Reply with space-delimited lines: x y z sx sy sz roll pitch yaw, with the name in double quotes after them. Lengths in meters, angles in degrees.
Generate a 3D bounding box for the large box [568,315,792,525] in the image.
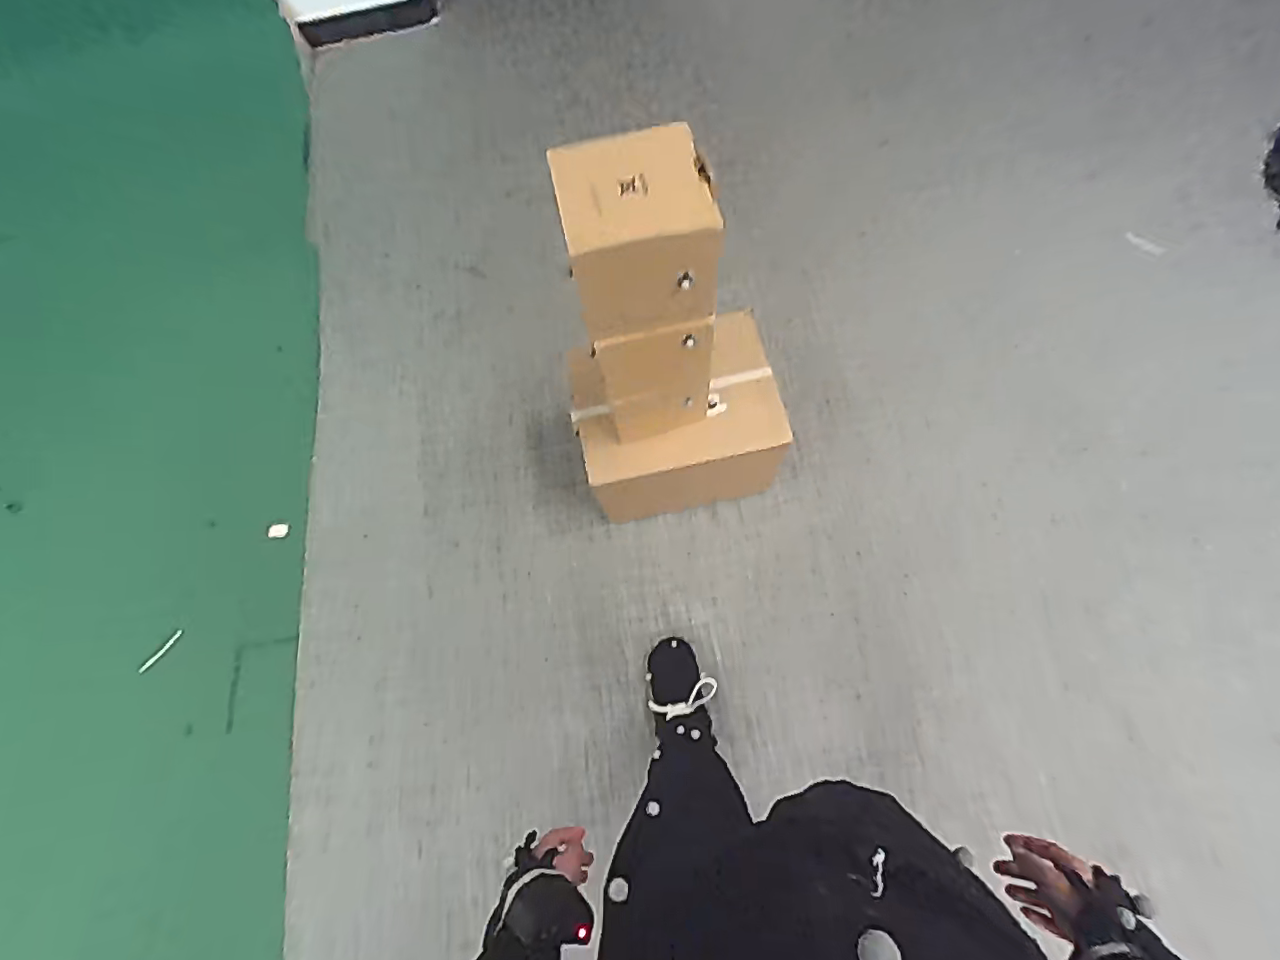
0.080 -0.118 1.231 0.408 0.320 0.320 -13 71 -1 "large box"

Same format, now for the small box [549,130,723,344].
-0.004 -0.302 0.697 0.179 0.176 0.168 -13 69 0 "small box"

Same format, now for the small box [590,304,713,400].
0.009 -0.244 0.848 0.179 0.176 0.168 -13 70 -1 "small box"
